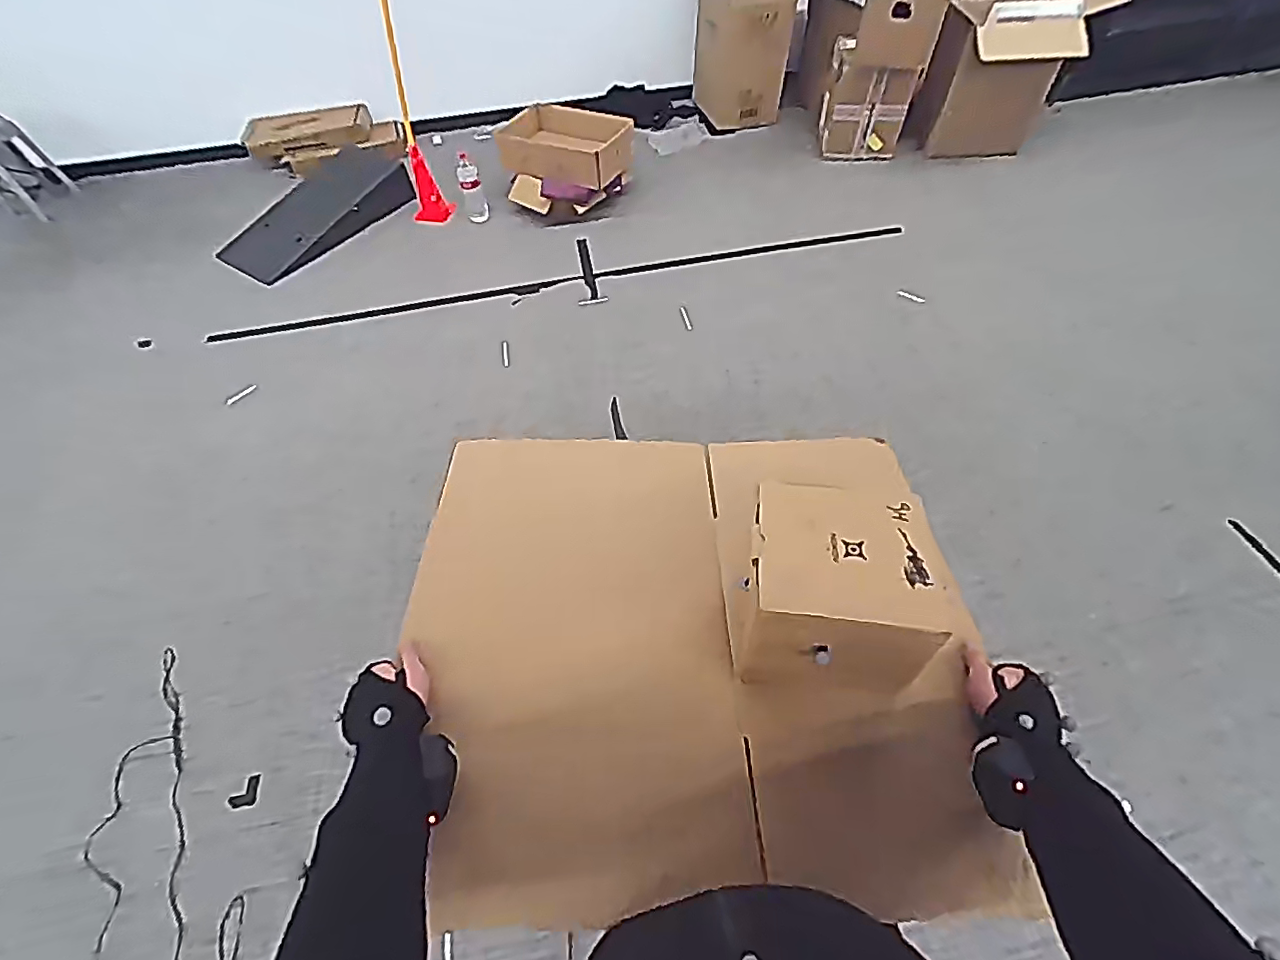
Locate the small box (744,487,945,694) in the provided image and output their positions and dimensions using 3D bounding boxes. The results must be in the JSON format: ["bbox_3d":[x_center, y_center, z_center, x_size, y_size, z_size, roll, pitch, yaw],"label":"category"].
[{"bbox_3d":[0.212,0.127,0.616,0.179,0.176,0.168,4,49,8],"label":"small box"}]
